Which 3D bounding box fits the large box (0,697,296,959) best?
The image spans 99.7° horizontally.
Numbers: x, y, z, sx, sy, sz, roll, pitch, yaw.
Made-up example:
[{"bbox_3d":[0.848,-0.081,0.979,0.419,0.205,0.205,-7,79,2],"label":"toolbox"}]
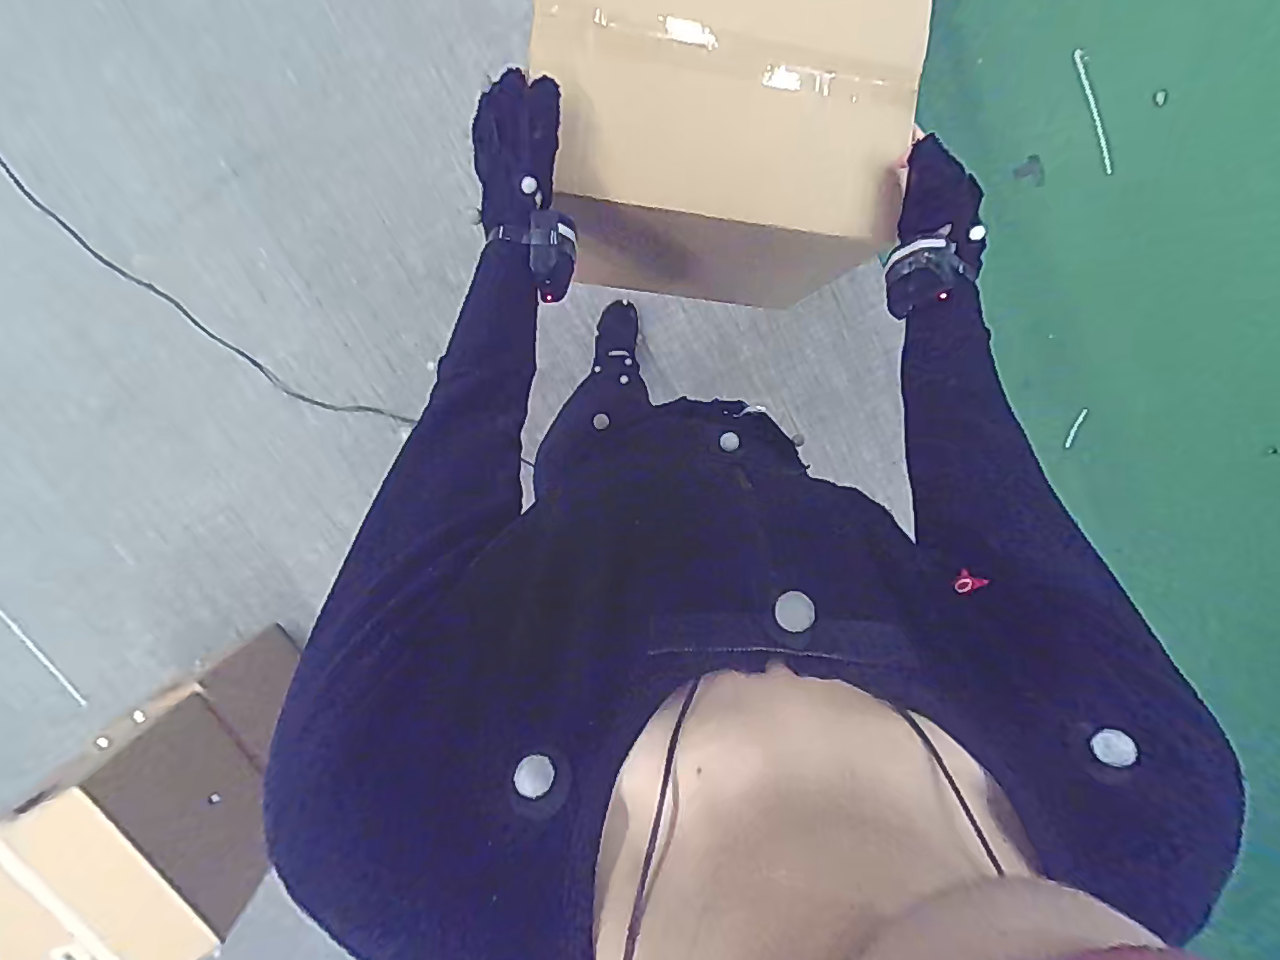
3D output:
[{"bbox_3d":[-1.015,0.741,1.094,0.320,0.320,0.408,-29,102,-3],"label":"large box"}]
